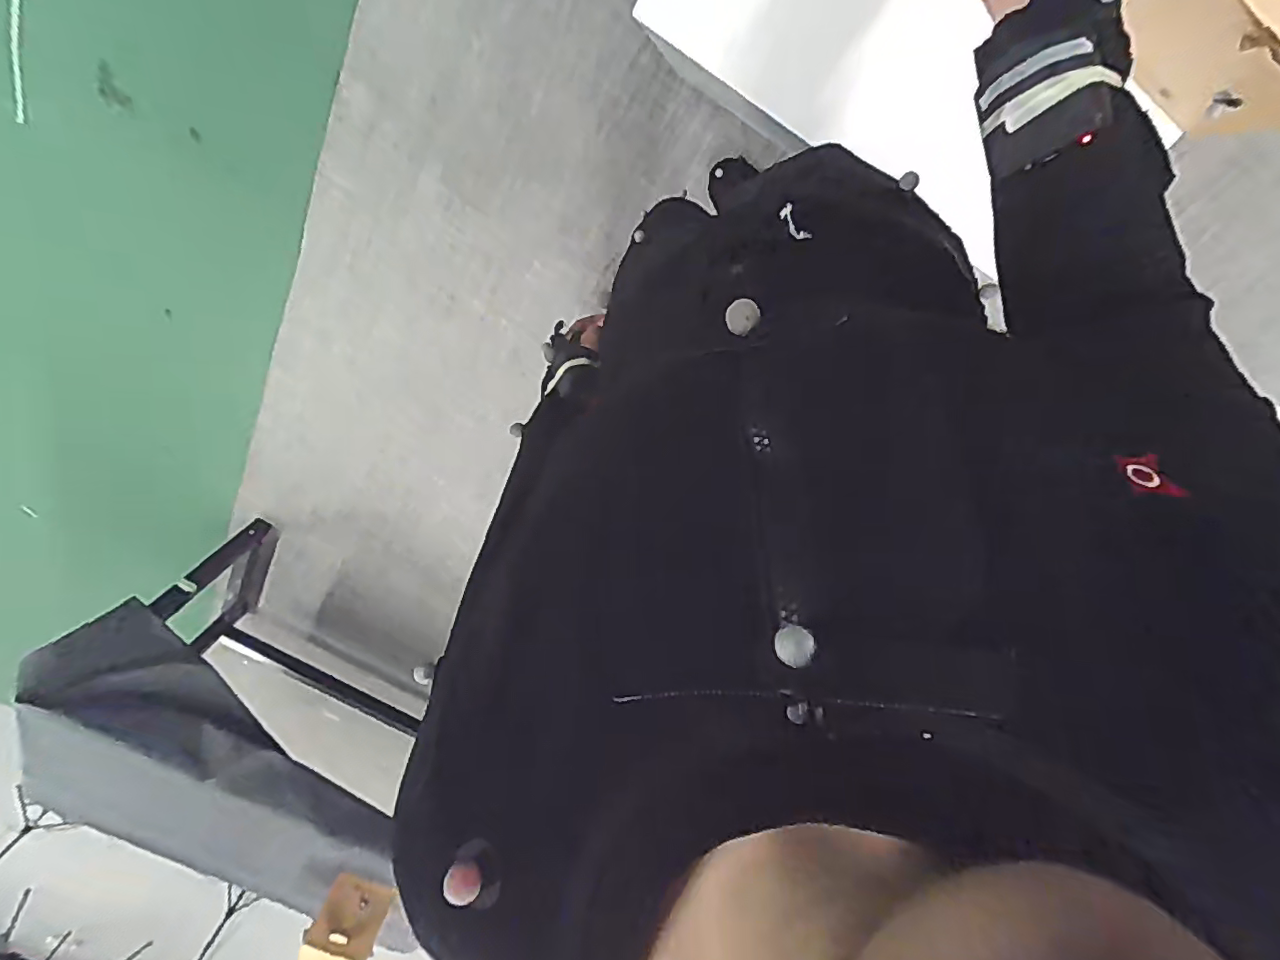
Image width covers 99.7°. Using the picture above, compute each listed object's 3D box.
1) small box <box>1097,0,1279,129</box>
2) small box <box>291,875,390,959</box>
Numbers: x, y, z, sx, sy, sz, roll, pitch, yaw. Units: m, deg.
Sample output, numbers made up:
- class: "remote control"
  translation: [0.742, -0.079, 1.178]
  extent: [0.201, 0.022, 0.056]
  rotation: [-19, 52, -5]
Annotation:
- class: "small box"
  translation: [0.483, -0.380, 0.383]
  extent: [0.168, 0.176, 0.179]
  rotation: [33, 121, -12]
- class: "small box"
  translation: [-0.790, 1.195, 1.433]
  extent: [0.168, 0.176, 0.179]
  rotation: [24, 122, -5]
